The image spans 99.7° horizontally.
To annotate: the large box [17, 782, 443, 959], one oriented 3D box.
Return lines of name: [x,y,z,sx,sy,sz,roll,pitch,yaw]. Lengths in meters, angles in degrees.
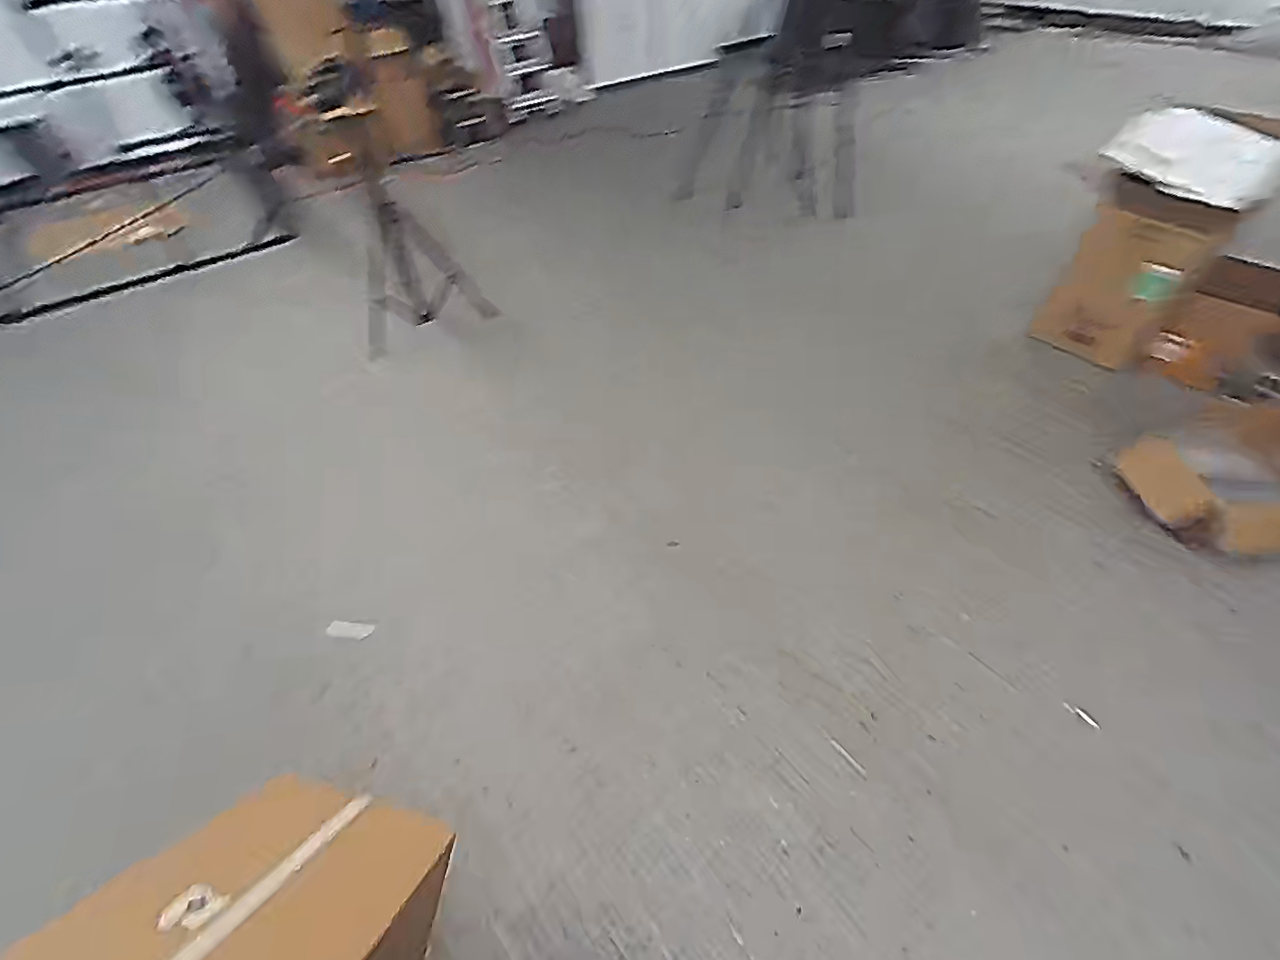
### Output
large box: [-0.505,0.666,0.670,0.320,0.408,0.320,13,89,5]
